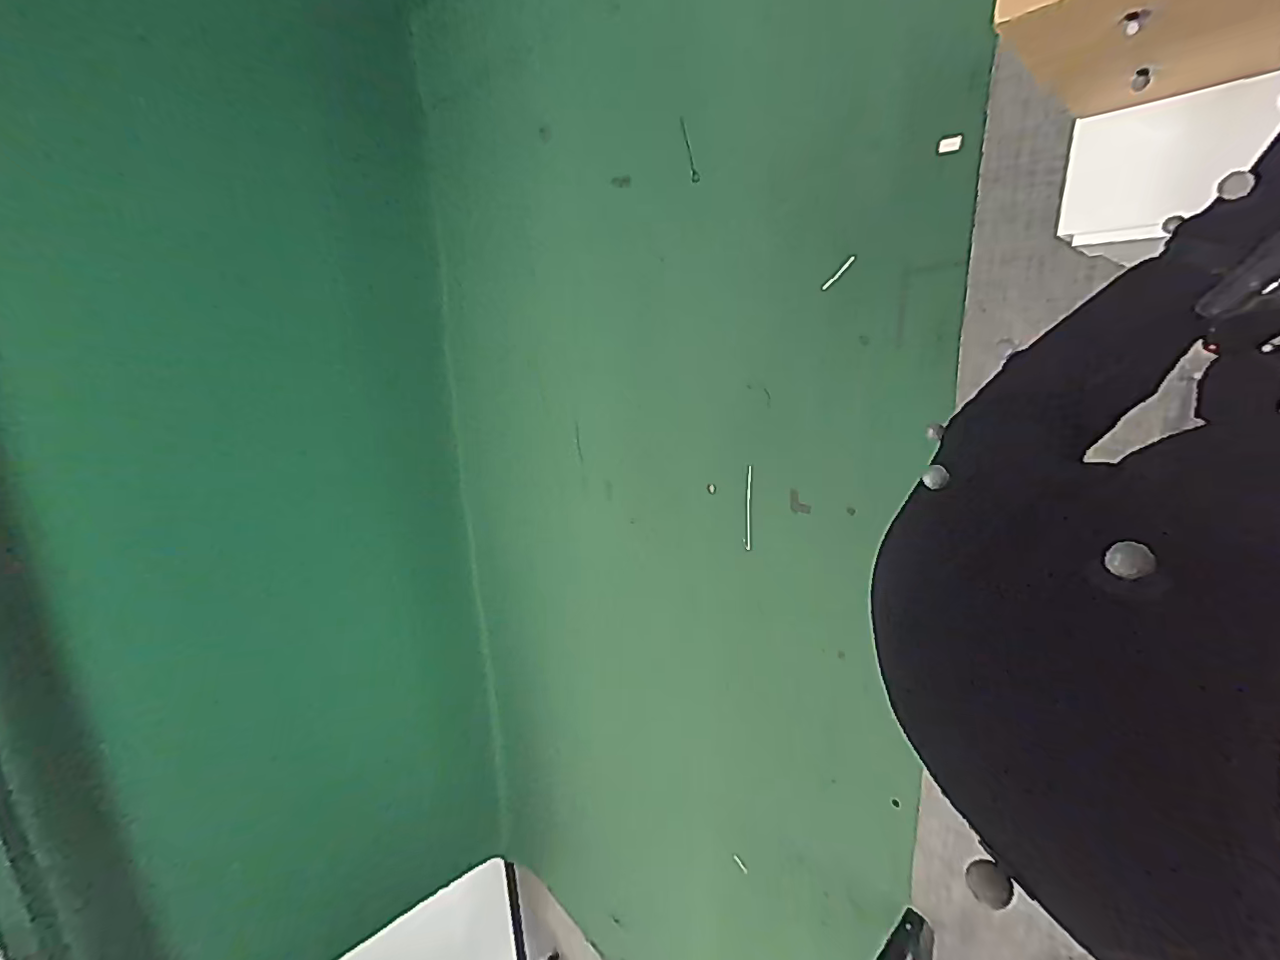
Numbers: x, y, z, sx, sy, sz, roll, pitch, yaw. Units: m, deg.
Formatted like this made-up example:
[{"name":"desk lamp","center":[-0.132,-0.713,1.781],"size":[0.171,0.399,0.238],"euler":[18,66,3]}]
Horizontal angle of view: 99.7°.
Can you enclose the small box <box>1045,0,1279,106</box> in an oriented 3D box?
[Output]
[{"name":"small box","center":[0.547,-0.511,0.546],"size":[0.179,0.176,0.168],"euler":[14,111,46]}]
